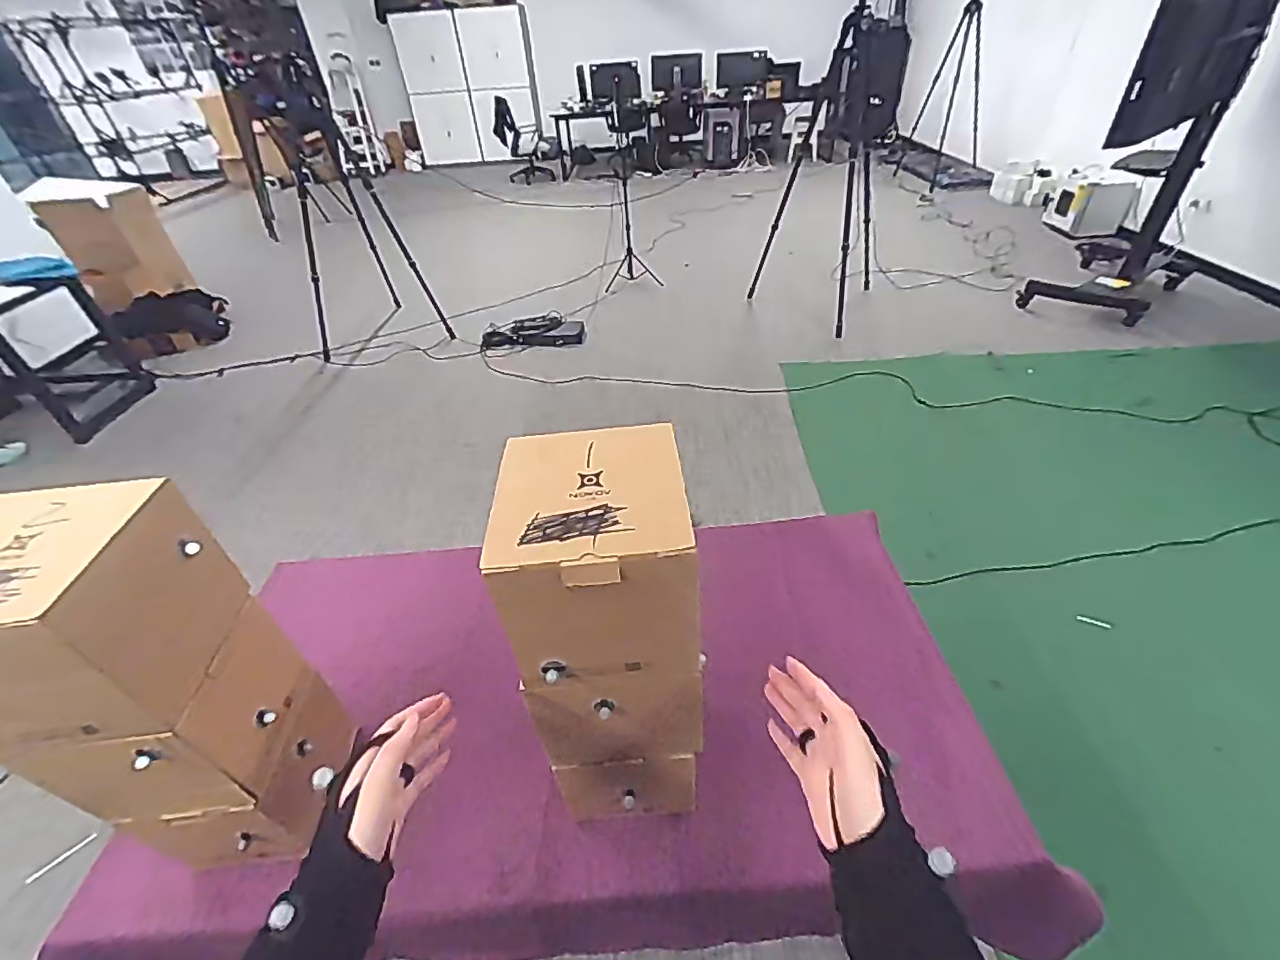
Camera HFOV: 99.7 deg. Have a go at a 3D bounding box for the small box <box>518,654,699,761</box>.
[{"bbox_3d":[-0.028,0.203,0.621,0.179,0.176,0.168,-5,40,0],"label":"small box"}]

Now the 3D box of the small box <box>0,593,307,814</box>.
[{"bbox_3d":[-0.522,0.252,0.609,0.179,0.176,0.168,-5,40,-4],"label":"small box"}]

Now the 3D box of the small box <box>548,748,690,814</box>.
[{"bbox_3d":[-0.022,0.328,0.728,0.168,0.176,0.179,-4,40,0],"label":"small box"}]

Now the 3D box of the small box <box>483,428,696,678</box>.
[{"bbox_3d":[-0.037,0.073,0.520,0.168,0.176,0.179,-5,38,-1],"label":"small box"}]

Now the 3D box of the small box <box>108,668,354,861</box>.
[{"bbox_3d":[-0.509,0.377,0.712,0.168,0.176,0.179,-4,39,-2],"label":"small box"}]
